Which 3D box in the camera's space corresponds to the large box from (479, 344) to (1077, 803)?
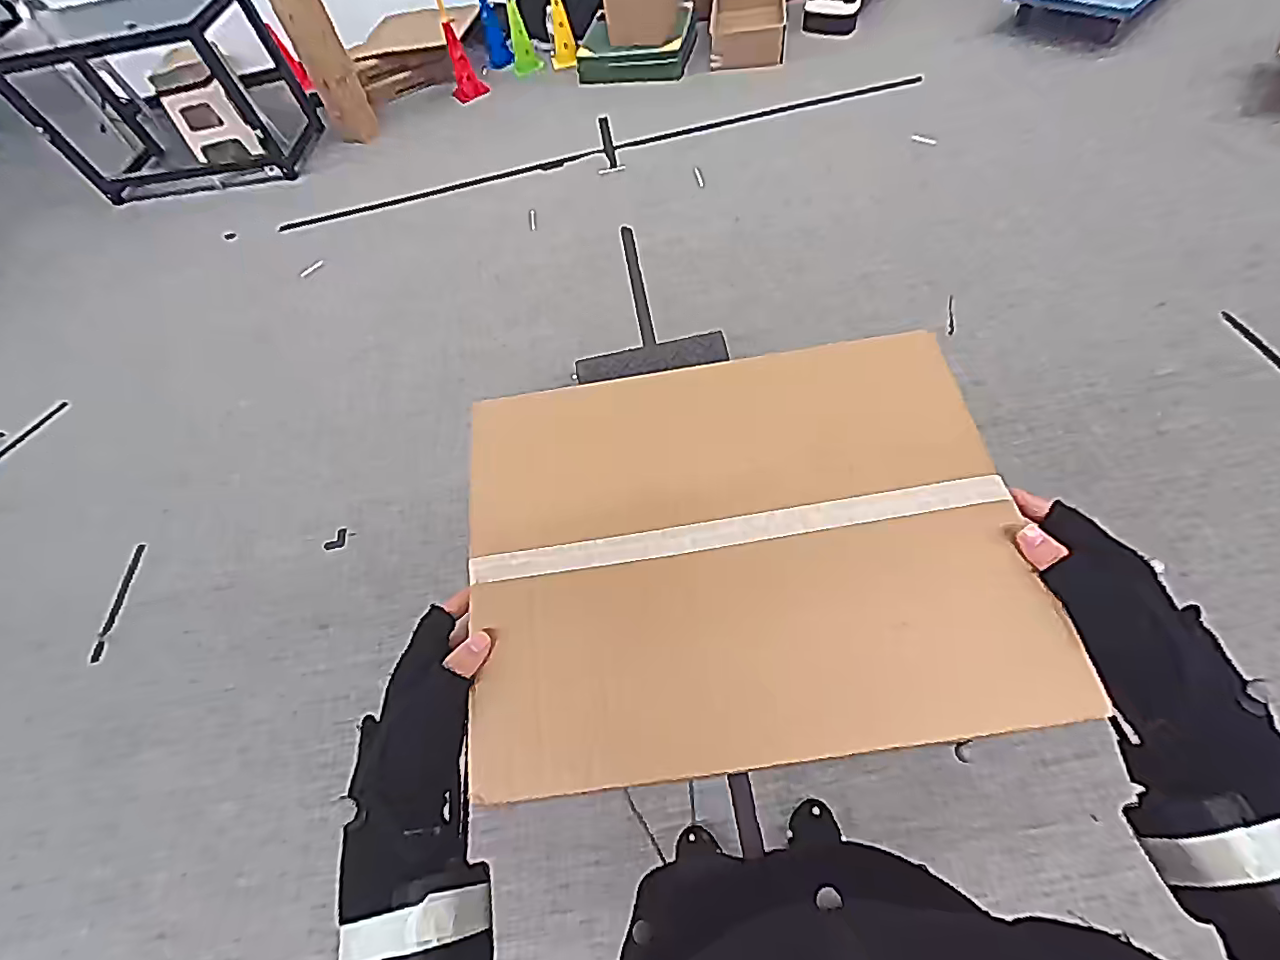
[{"bbox_3d":[0.085,0.107,0.551,0.408,0.320,0.320,-9,63,1],"label":"large box"}]
